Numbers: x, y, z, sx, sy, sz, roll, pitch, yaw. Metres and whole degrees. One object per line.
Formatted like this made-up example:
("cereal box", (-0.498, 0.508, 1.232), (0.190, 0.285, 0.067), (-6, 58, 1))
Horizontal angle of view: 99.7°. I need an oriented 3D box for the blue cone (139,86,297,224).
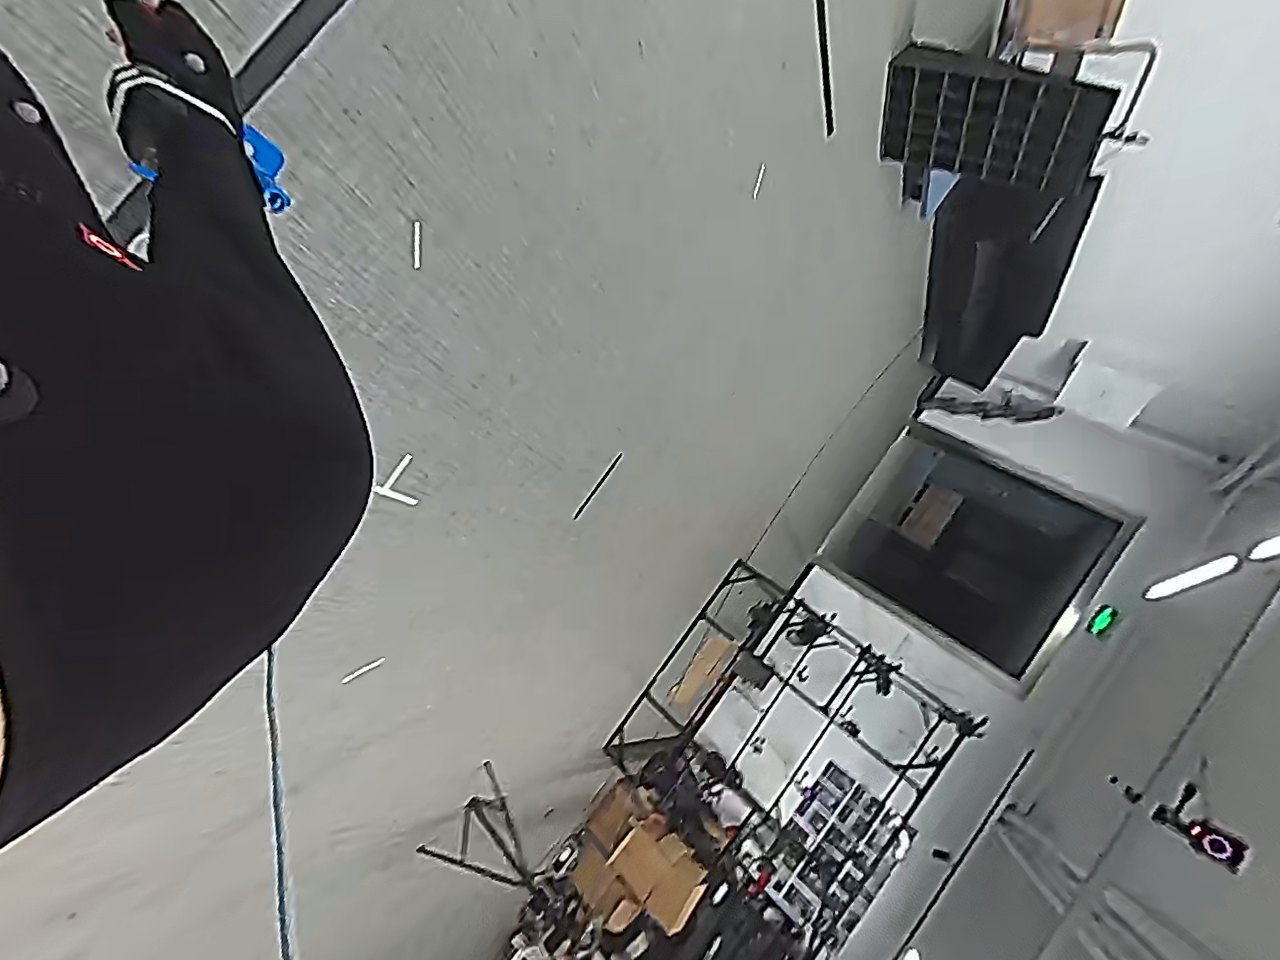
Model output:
("blue cone", (-0.735, -0.559, 0.994), (0.193, 0.380, 0.192), (-55, 151, 0))
